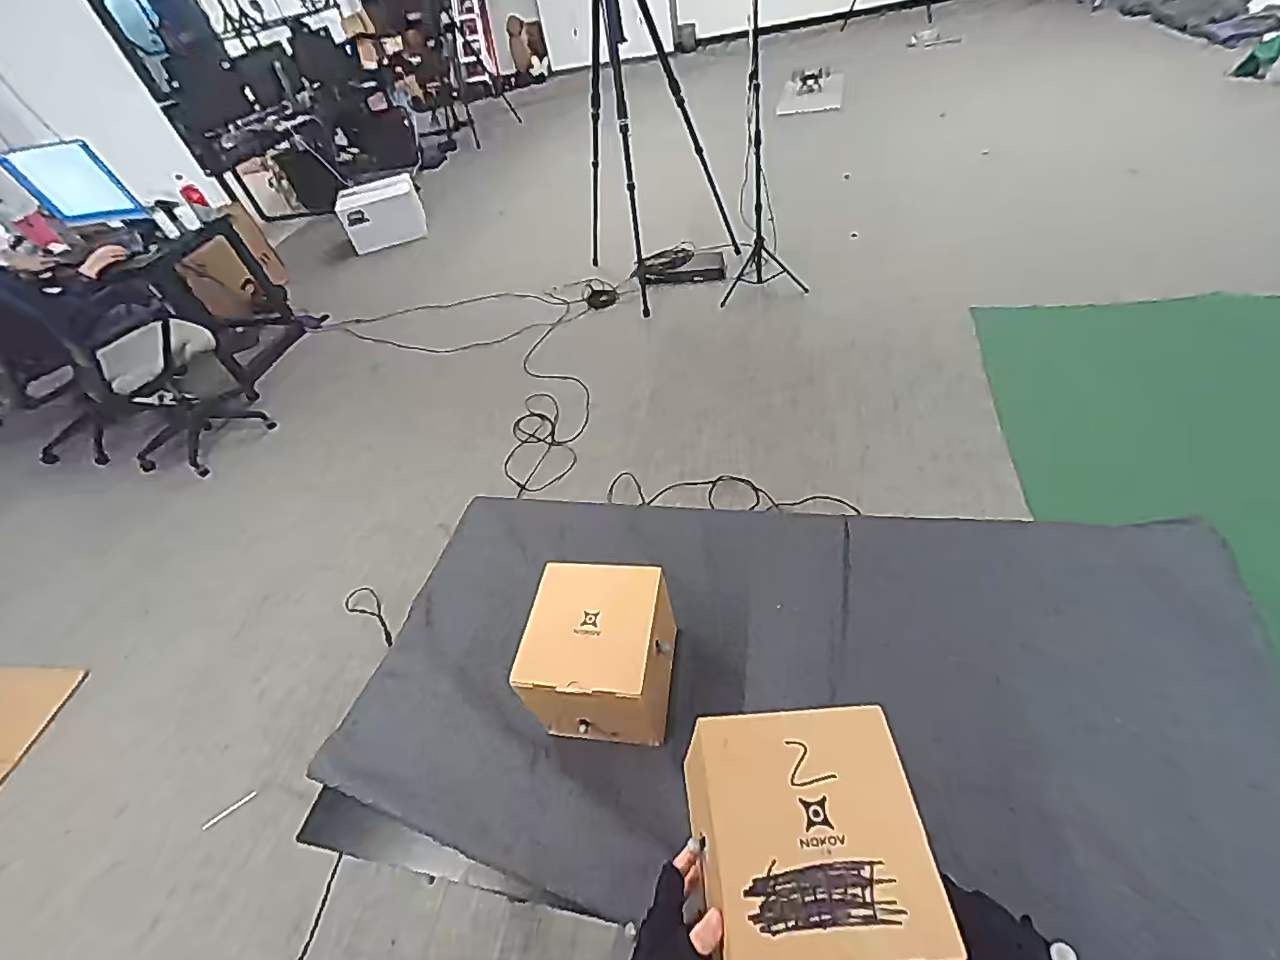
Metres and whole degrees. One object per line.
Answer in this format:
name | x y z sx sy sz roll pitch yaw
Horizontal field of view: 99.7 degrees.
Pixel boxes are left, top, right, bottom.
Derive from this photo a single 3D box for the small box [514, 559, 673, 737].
small box | -0.050 0.231 0.751 0.168 0.176 0.179 1 49 13
